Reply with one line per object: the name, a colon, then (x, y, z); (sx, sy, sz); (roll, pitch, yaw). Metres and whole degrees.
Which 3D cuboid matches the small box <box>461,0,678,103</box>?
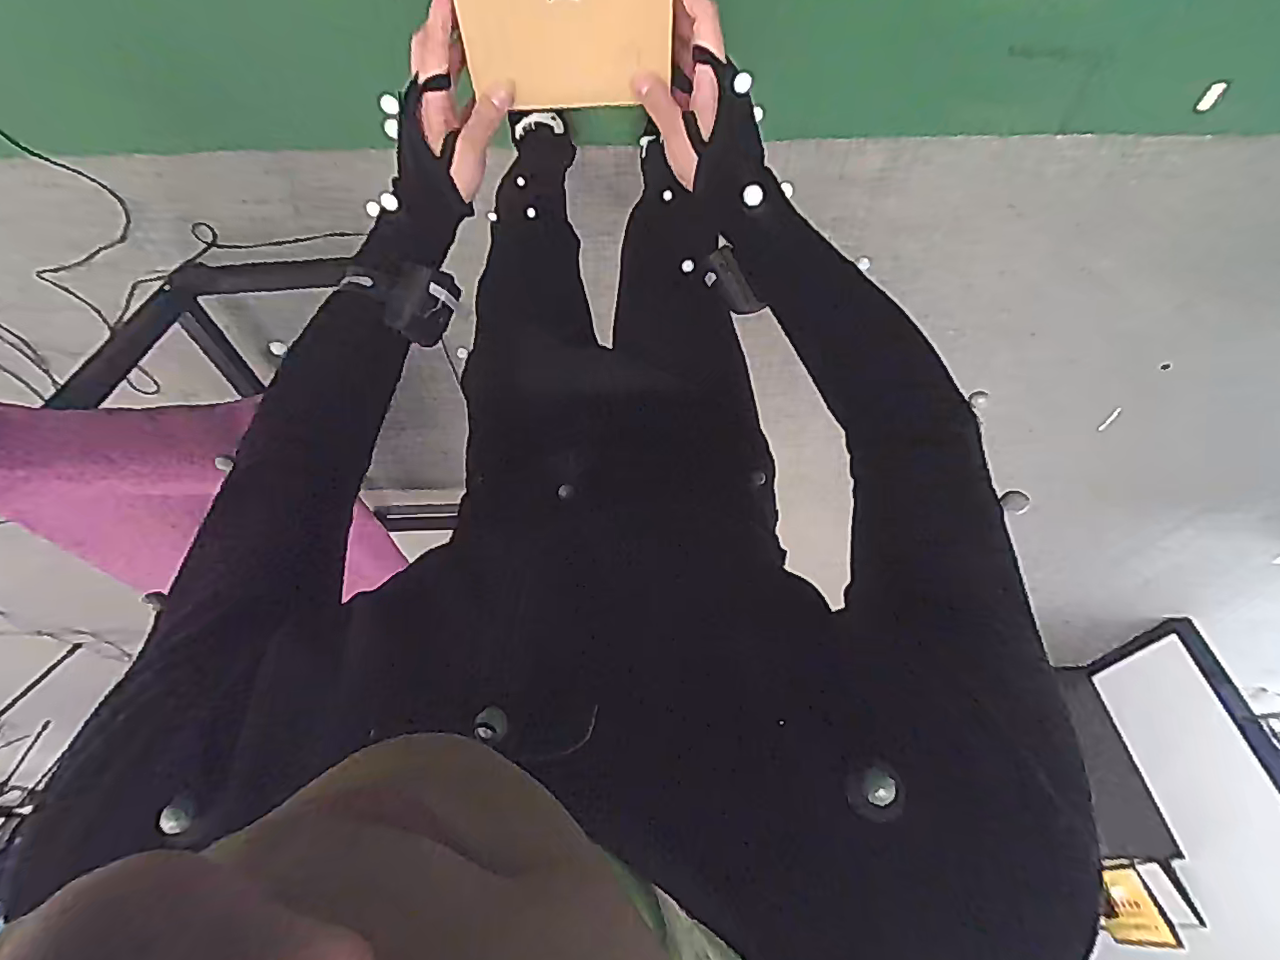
small box: (-0.056, -0.436, 0.432); (0.168, 0.176, 0.179); (-4, 145, -2)
